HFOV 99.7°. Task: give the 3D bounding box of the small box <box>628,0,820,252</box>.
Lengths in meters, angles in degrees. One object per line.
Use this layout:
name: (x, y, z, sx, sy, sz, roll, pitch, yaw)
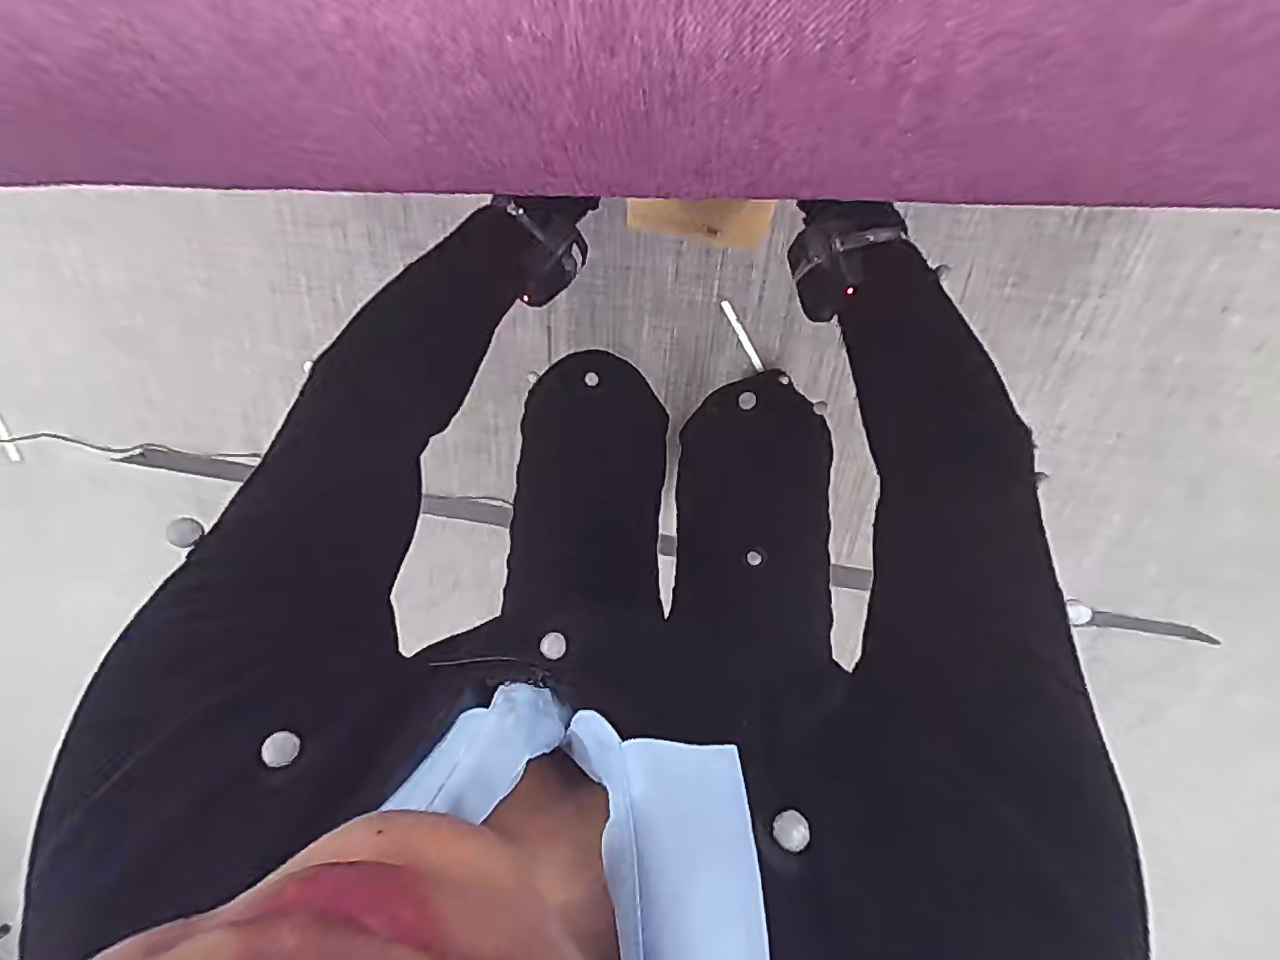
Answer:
small box: (0.084, -0.389, 0.606, 0.168, 0.176, 0.179, 12, 74, 0)
